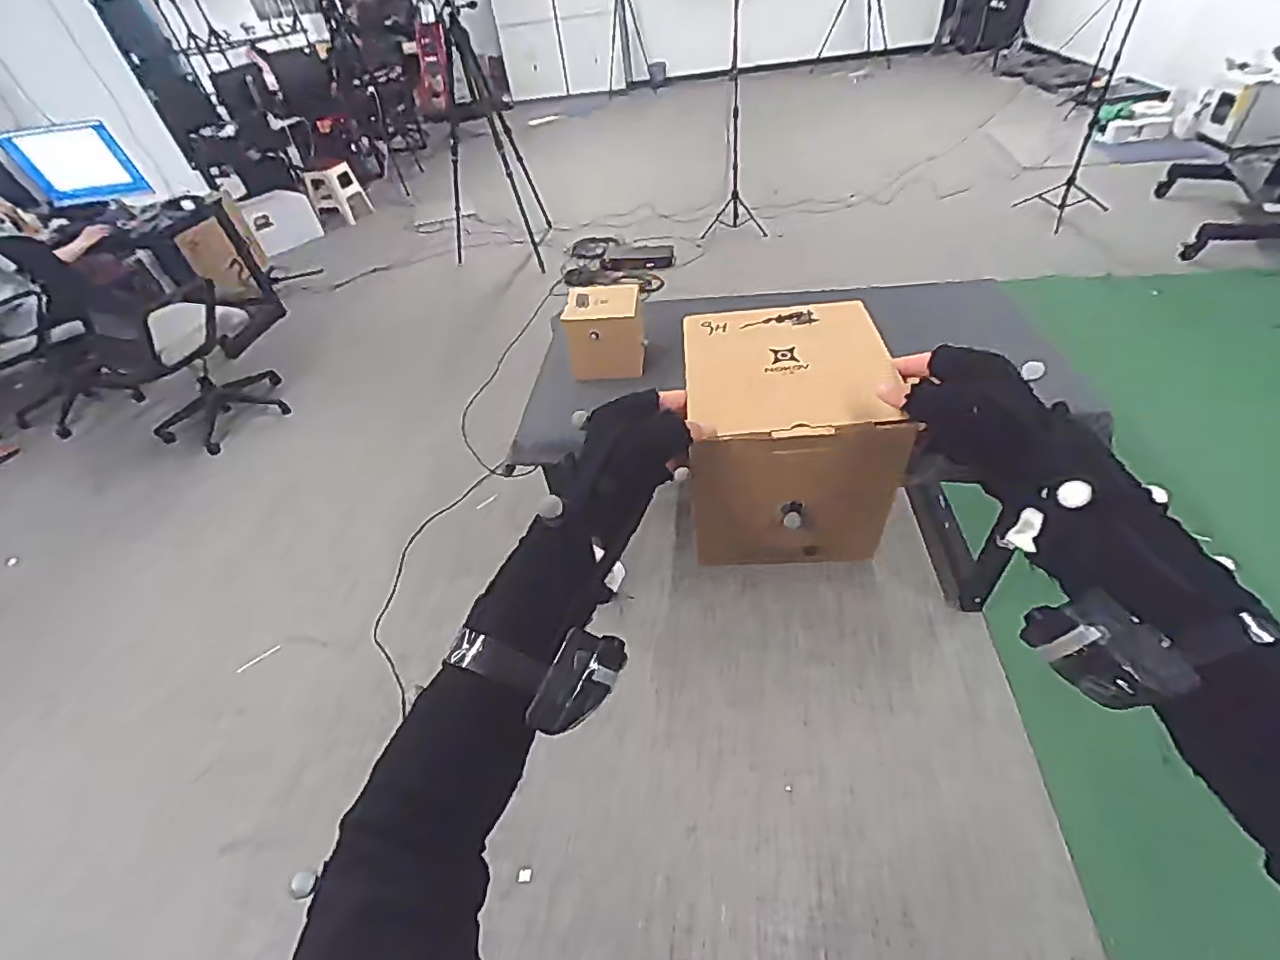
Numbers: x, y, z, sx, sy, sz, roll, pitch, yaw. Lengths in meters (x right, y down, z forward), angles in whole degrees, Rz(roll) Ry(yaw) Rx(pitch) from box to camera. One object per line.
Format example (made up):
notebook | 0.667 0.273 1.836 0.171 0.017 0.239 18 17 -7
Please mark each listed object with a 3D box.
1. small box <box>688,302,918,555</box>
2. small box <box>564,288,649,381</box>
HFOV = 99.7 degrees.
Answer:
small box | 0.133 -0.040 0.508 0.168 0.176 0.179 -3 47 6
small box | -0.076 -0.358 1.346 0.179 0.176 0.168 -1 44 7
